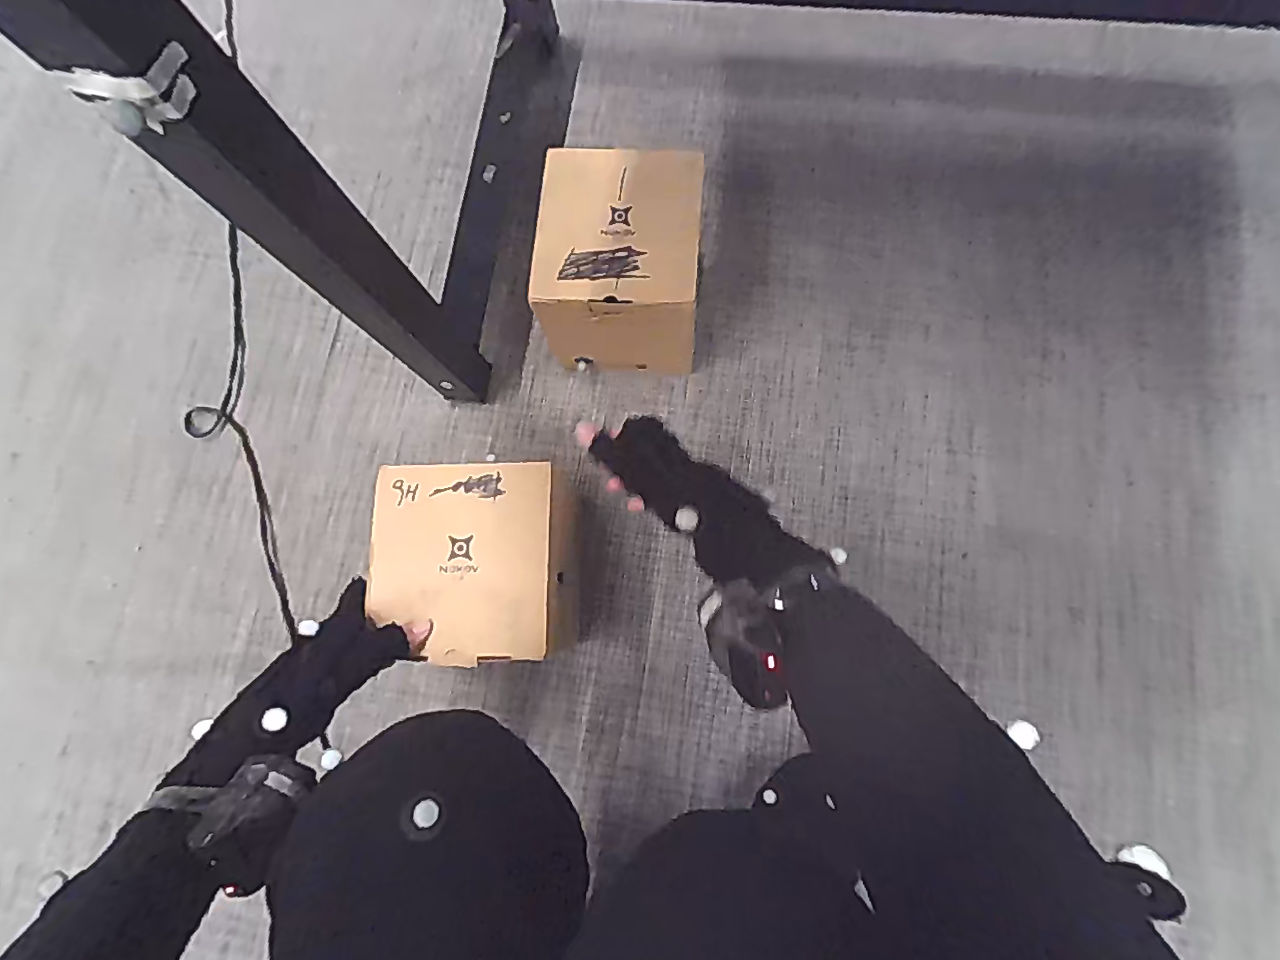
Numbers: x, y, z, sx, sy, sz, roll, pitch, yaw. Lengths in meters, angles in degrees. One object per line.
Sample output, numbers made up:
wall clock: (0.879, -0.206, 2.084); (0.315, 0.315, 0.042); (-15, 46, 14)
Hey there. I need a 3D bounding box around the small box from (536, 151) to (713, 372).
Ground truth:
small box: (-0.008, -0.236, 0.619); (0.168, 0.176, 0.179); (5, 79, 5)
